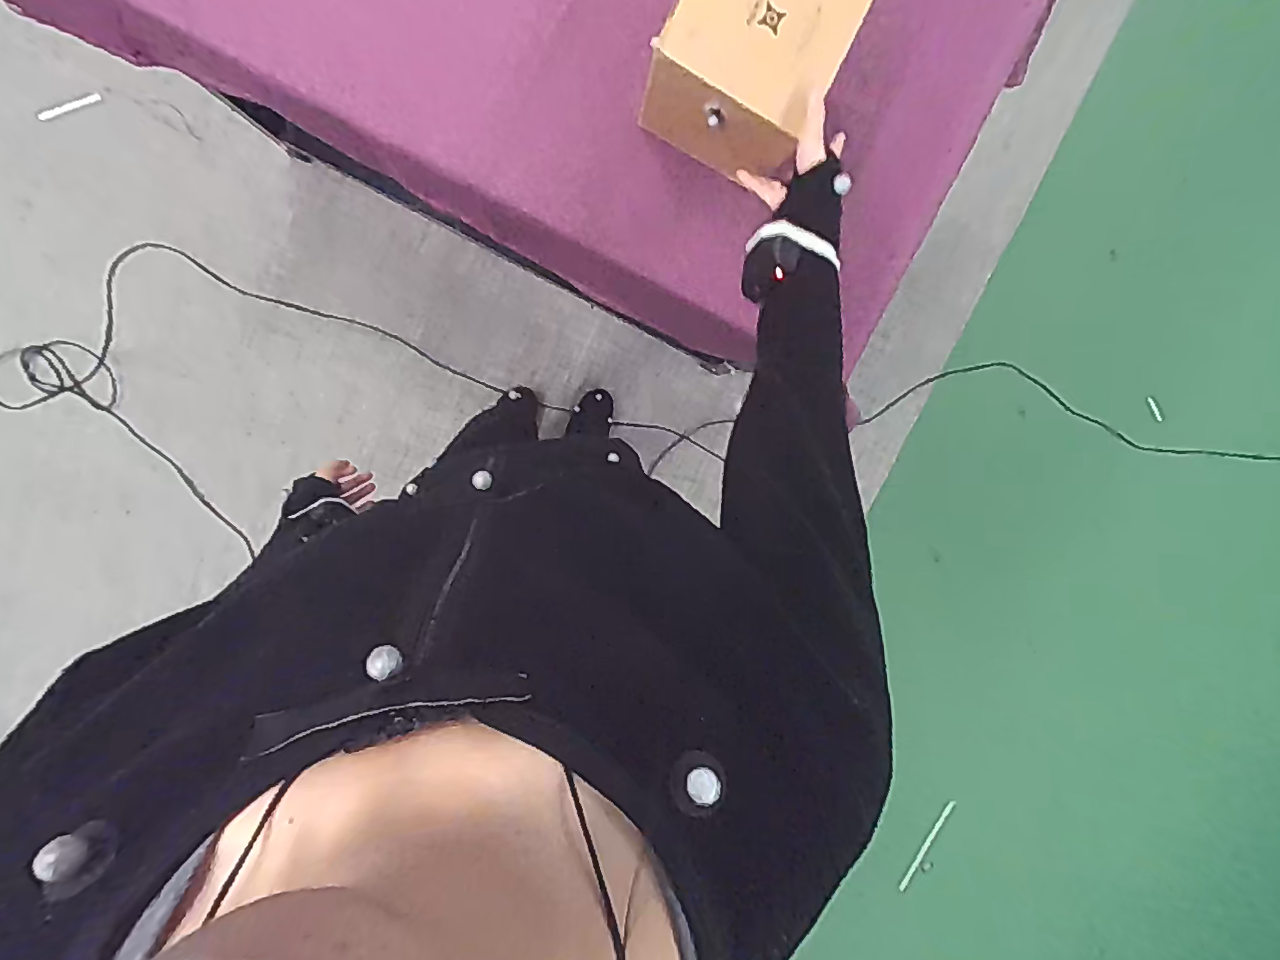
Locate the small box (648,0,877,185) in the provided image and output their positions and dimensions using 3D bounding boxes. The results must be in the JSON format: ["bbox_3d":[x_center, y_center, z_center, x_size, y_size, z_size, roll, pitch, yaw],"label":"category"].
[{"bbox_3d":[0.123,-0.474,0.615,0.179,0.176,0.168,26,97,-11],"label":"small box"}]
